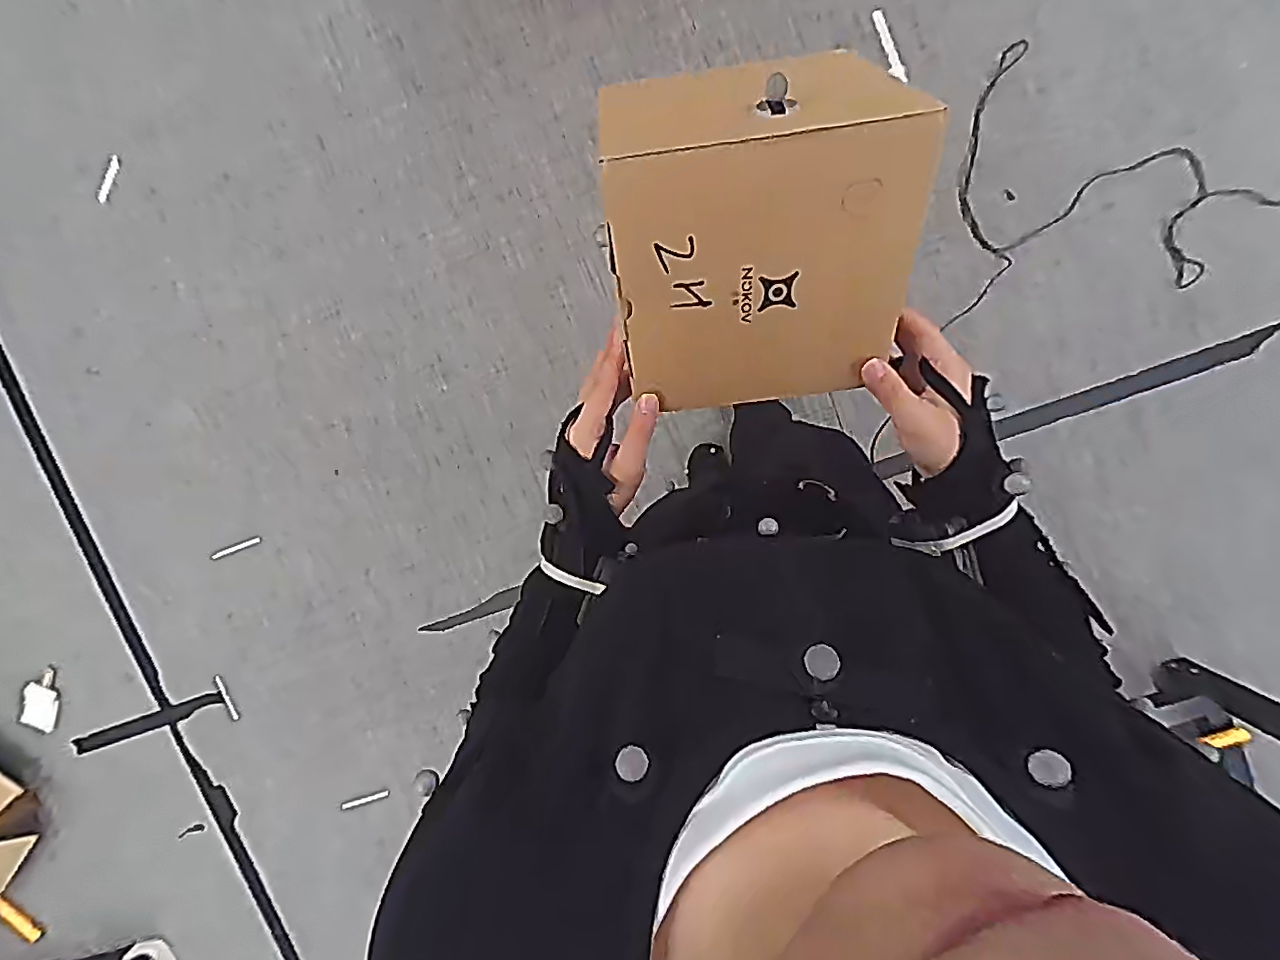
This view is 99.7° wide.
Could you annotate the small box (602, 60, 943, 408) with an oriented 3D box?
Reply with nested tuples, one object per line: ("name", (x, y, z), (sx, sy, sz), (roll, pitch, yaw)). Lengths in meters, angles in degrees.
("small box", (0.070, -0.175, 0.384), (0.179, 0.176, 0.168), (-6, 136, 3))
